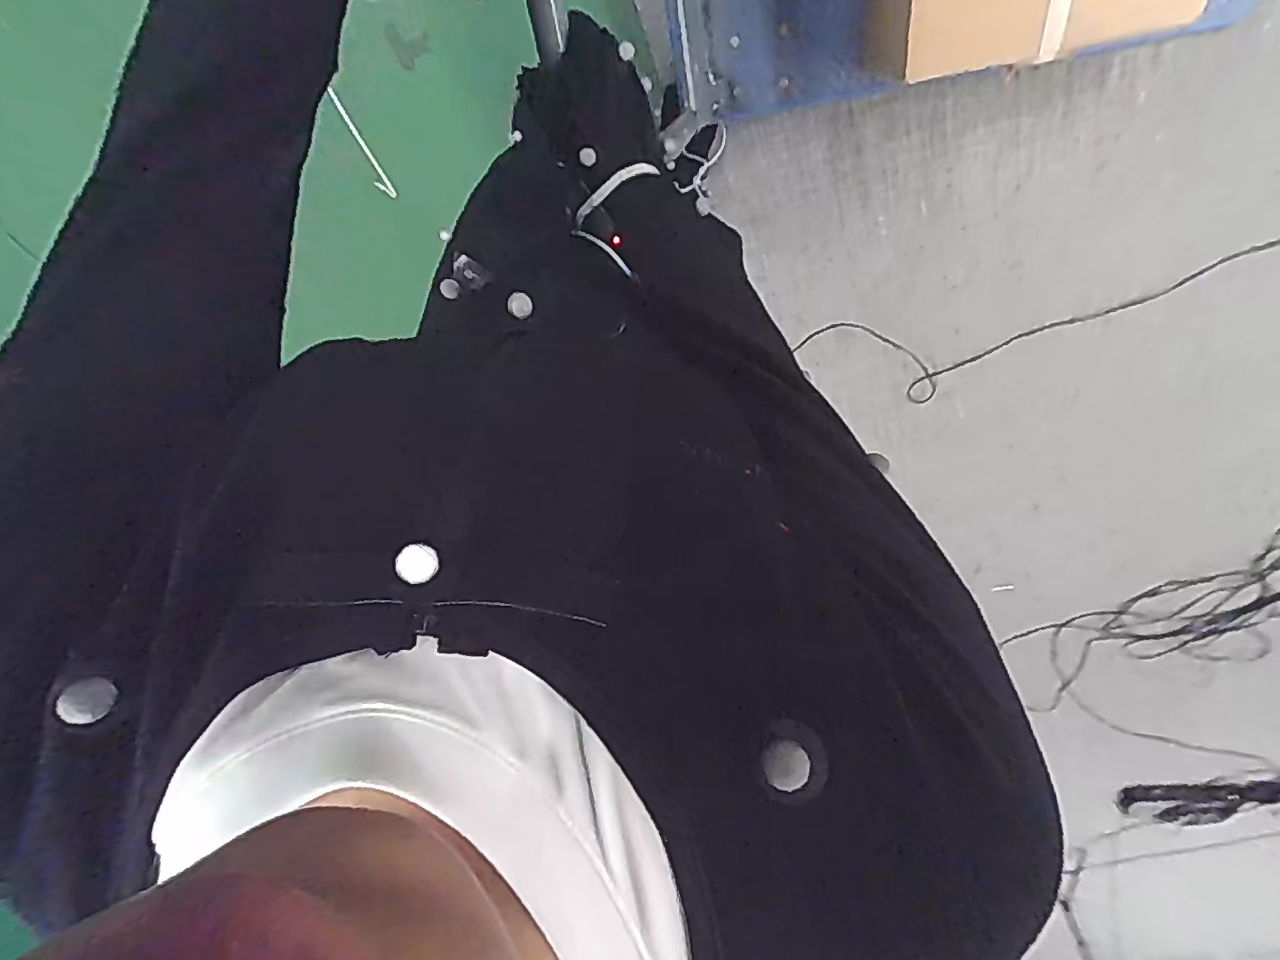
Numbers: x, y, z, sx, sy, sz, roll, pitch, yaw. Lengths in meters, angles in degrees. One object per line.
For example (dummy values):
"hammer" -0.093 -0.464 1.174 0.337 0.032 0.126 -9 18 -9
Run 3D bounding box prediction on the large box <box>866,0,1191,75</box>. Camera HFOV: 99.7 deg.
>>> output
"large box" 0.463 -0.772 0.650 0.320 0.320 0.408 -3 128 13
